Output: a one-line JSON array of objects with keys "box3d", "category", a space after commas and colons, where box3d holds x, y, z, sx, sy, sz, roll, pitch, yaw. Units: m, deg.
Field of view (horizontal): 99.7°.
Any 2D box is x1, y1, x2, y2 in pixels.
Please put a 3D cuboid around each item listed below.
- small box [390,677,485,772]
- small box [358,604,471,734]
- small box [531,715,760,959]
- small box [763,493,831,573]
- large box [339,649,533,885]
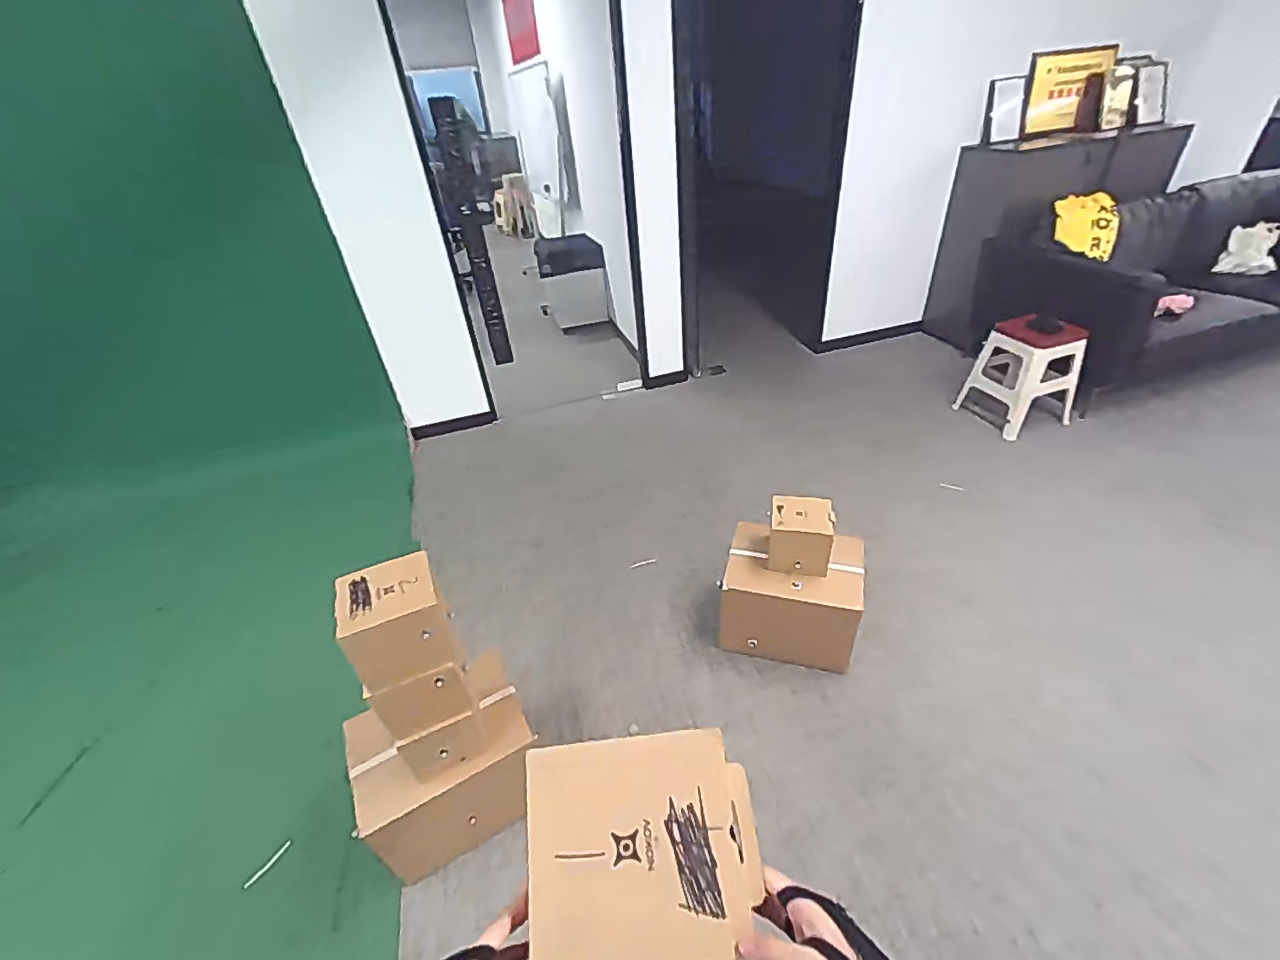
[{"box3d": [-0.471, 0.540, 1.248, 0.168, 0.176, 0.179, -18, 39, -18], "category": "small box"}, {"box3d": [-0.481, 0.406, 1.158, 0.179, 0.176, 0.168, -17, 38, -17], "category": "small box"}, {"box3d": [-0.011, 0.322, 0.507, 0.179, 0.176, 0.168, -2, 61, -9], "category": "small box"}, {"box3d": [0.476, 0.163, 1.648, 0.179, 0.176, 0.168, 6, 36, 12], "category": "small box"}, {"box3d": [-0.492, 0.731, 1.407, 0.408, 0.320, 0.320, -24, 39, -21], "category": "large box"}]
